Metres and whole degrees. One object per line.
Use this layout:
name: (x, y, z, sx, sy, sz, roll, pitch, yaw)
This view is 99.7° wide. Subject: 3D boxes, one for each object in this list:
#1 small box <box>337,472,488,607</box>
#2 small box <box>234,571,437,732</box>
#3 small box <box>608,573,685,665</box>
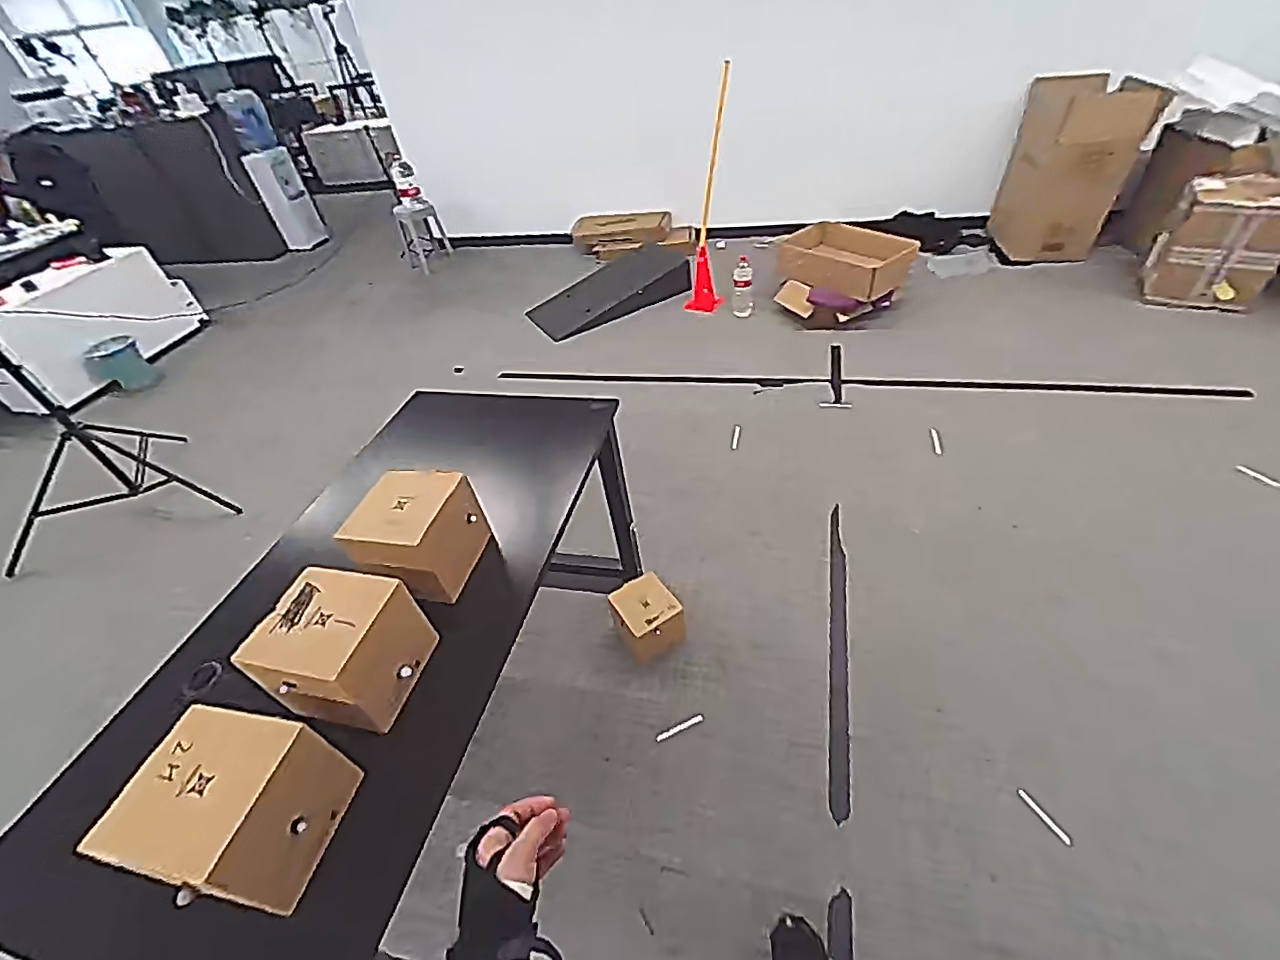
small box: (-0.402, 0.107, 0.995, 0.168, 0.176, 0.179, 2, 45, 14)
small box: (-0.450, 0.264, 0.831, 0.179, 0.176, 0.168, 5, 44, 14)
small box: (0.022, 0.426, 1.652, 0.168, 0.176, 0.179, -28, 46, -19)
